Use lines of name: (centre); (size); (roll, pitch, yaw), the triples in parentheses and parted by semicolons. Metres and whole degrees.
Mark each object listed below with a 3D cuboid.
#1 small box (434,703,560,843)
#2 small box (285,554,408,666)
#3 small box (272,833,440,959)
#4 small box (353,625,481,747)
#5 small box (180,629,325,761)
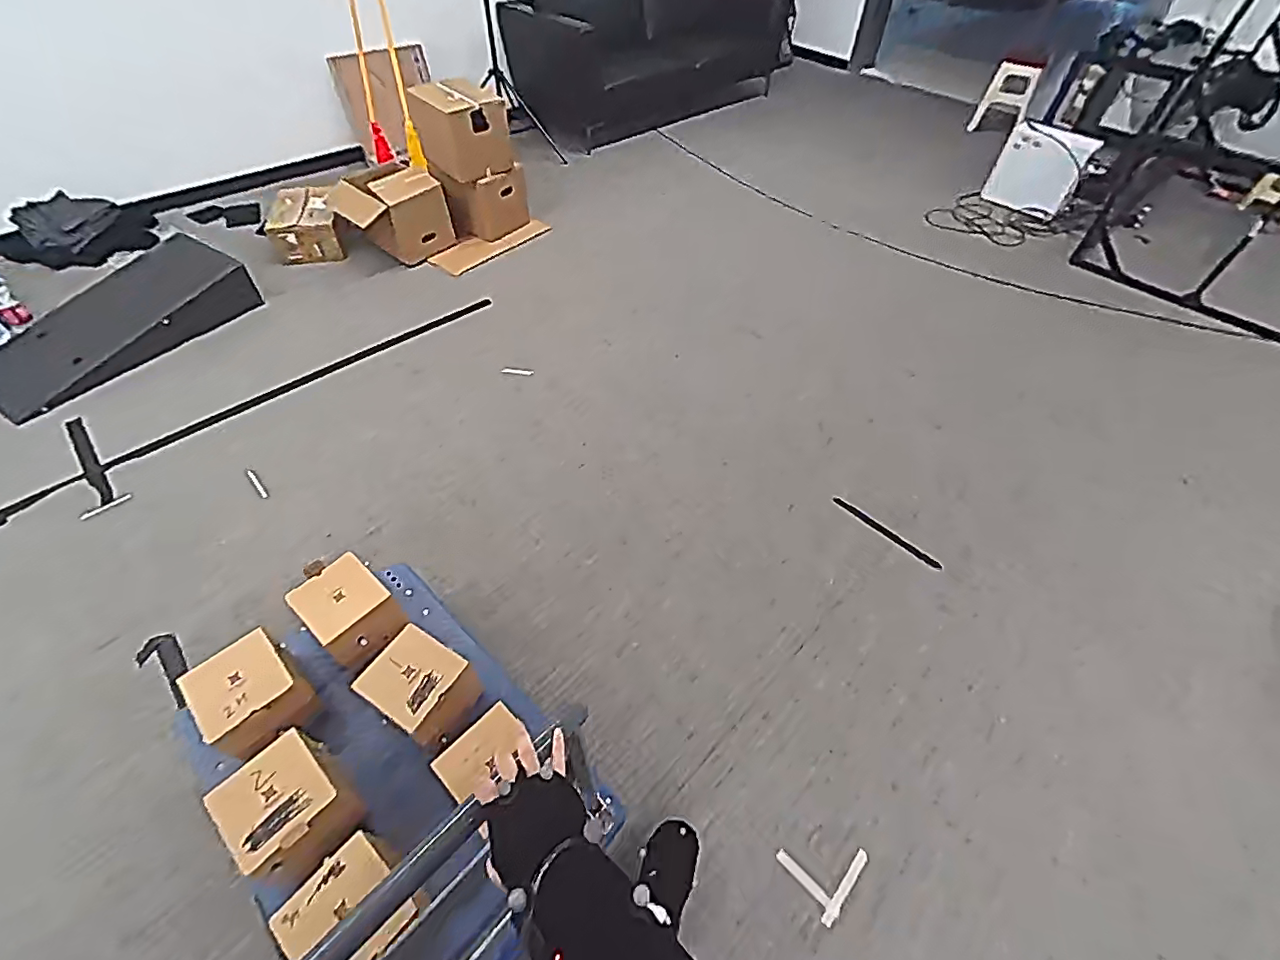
small box: (-0.275, 0.590, 1.080); (0.179, 0.176, 0.168); (37, 57, 25)
small box: (-0.683, 0.315, 1.280); (0.179, 0.176, 0.168); (34, 56, 22)
small box: (-0.474, 0.753, 0.930); (0.179, 0.176, 0.168); (34, 55, 22)
small box: (-0.472, 0.455, 1.177); (0.179, 0.176, 0.168); (26, 54, 17)
small box: (-0.814, 0.461, 1.149); (0.179, 0.176, 0.168); (39, 58, 24)
